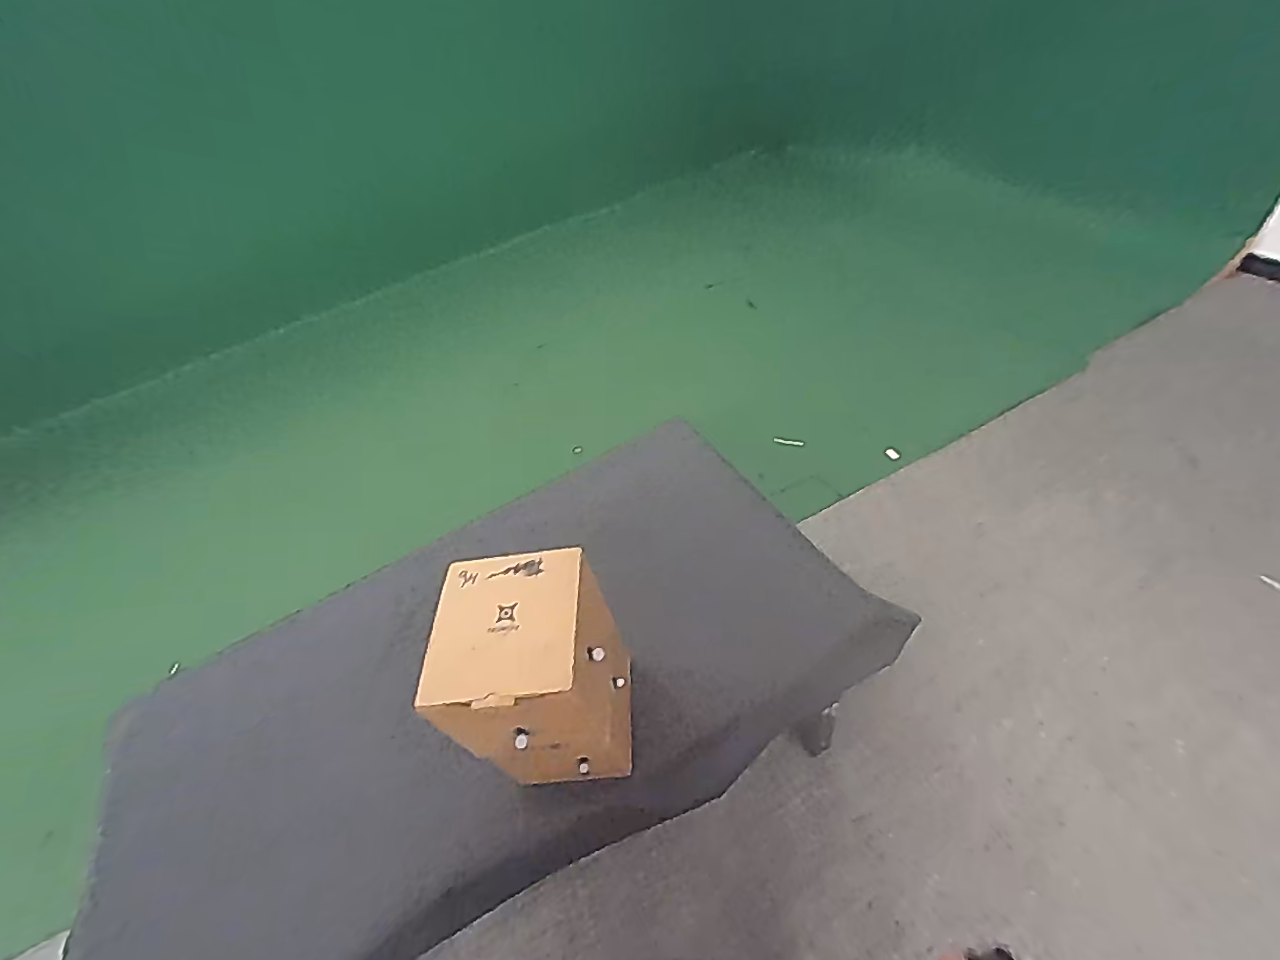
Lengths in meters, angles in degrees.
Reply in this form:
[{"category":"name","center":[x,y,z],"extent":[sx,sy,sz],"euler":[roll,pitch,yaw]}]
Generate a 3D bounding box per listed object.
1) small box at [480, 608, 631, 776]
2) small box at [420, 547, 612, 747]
[{"category":"small box","center":[-0.106,0.307,0.771],"extent":[0.168,0.176,0.179],"euler":[-8,46,6]},{"category":"small box","center":[-0.129,0.205,0.644],"extent":[0.168,0.176,0.179],"euler":[-7,48,6]}]
